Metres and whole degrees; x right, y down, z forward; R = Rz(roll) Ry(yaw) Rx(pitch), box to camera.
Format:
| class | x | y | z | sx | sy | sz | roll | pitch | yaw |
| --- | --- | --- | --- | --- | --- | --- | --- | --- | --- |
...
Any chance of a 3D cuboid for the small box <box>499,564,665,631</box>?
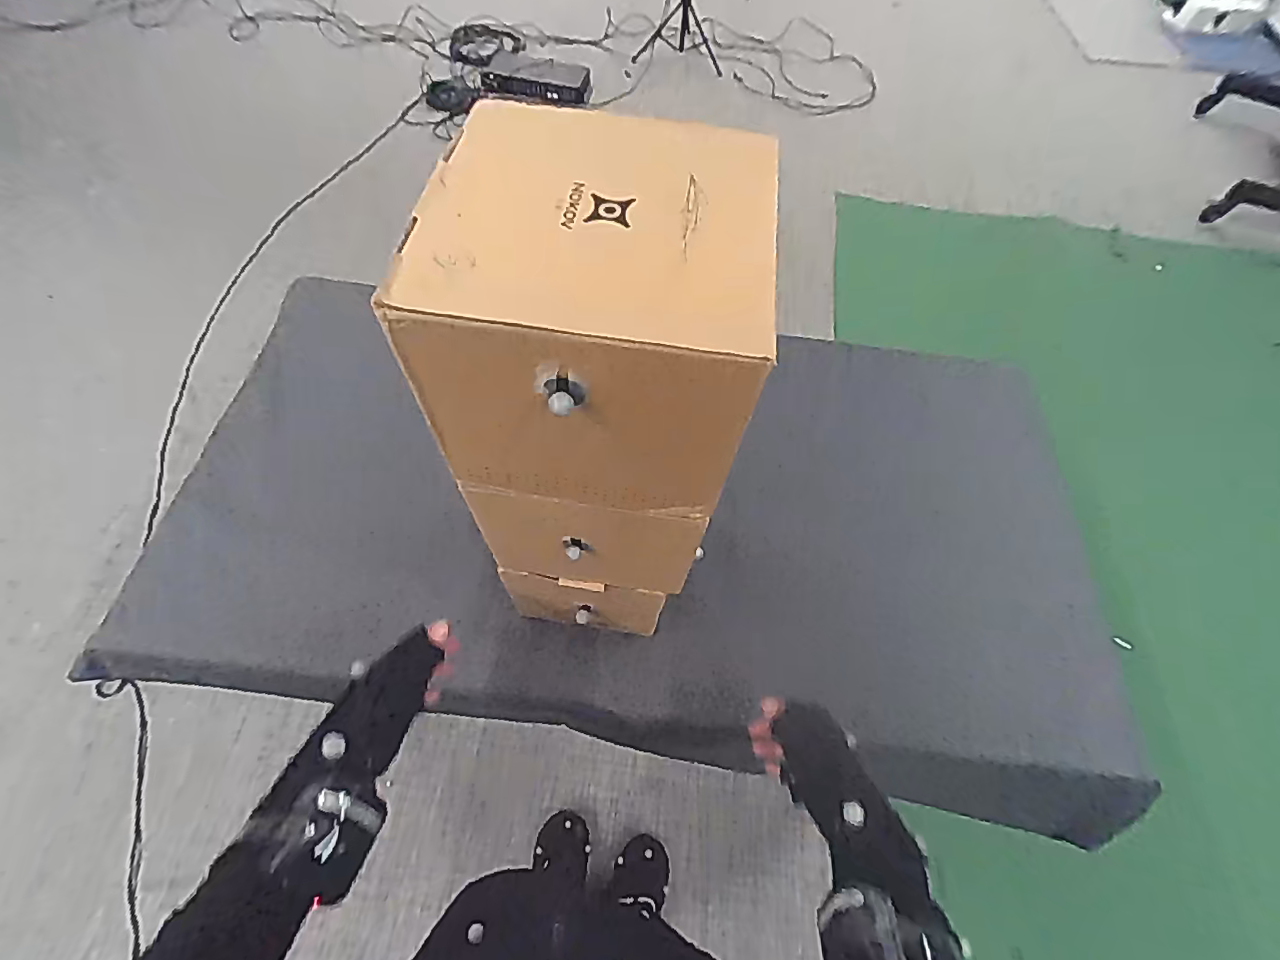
| class | x | y | z | sx | sy | sz | roll | pitch | yaw |
| --- | --- | --- | --- | --- | --- | --- | --- | --- | --- |
| small box | -0.048 | 0.066 | 0.626 | 0.168 | 0.176 | 0.179 | 7 | 62 | 1 |

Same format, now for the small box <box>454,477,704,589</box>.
| class | x | y | z | sx | sy | sz | roll | pitch | yaw |
| --- | --- | --- | --- | --- | --- | --- | --- | --- | --- |
| small box | -0.037 | -0.011 | 0.480 | 0.179 | 0.176 | 0.168 | 6 | 61 | 2 |

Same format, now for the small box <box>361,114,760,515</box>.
| class | x | y | z | sx | sy | sz | roll | pitch | yaw |
| --- | --- | --- | --- | --- | --- | --- | --- | --- | --- |
| small box | -0.030 | -0.090 | 0.339 | 0.179 | 0.176 | 0.168 | 7 | 62 | 1 |
